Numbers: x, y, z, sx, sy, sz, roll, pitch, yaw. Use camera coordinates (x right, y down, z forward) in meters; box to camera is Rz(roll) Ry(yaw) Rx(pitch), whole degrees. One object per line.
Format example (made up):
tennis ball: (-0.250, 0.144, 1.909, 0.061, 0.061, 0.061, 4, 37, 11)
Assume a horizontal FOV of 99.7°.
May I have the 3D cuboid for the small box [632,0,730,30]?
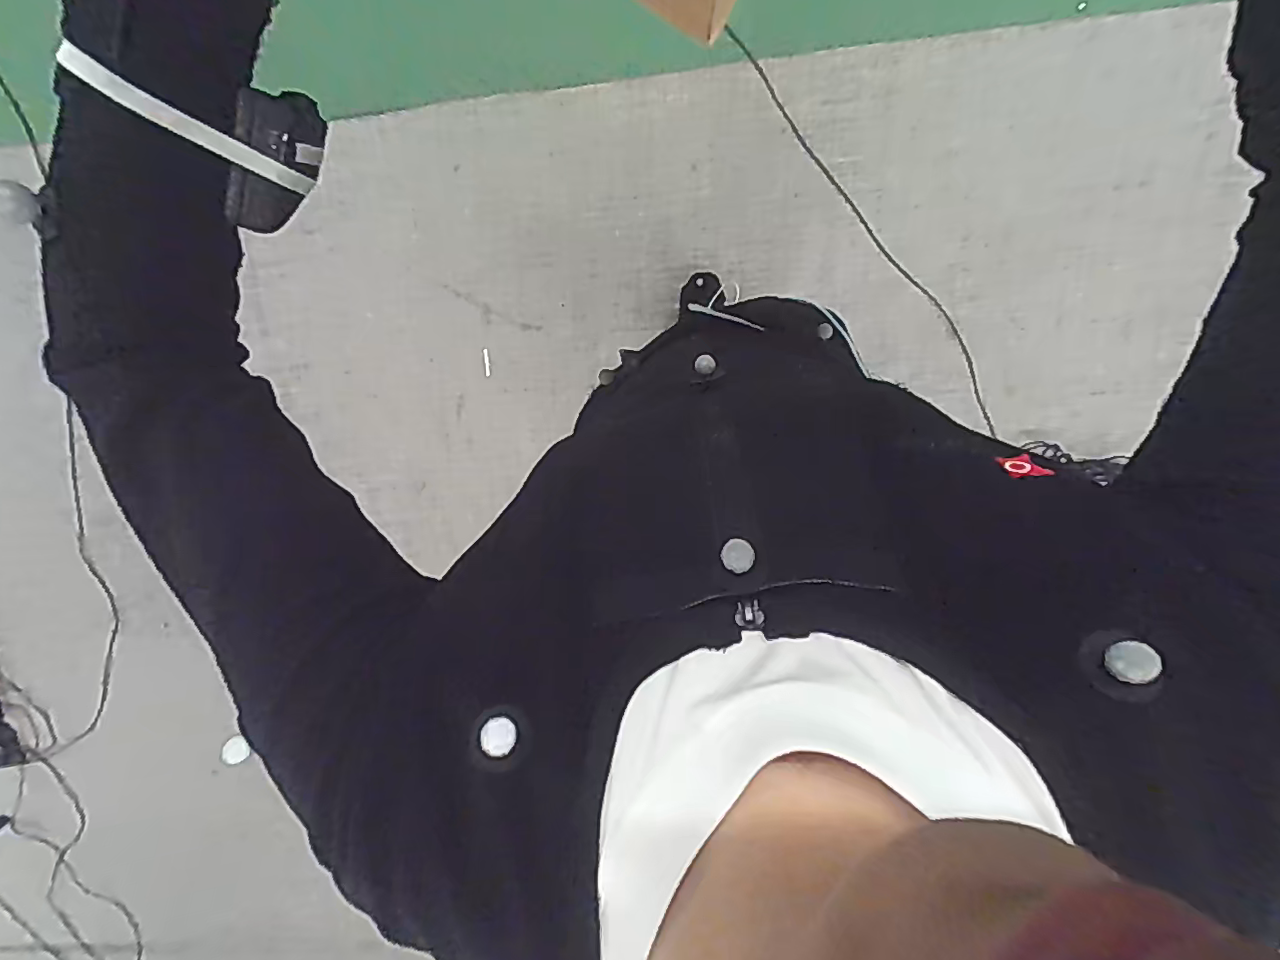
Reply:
small box: (0.002, -0.358, 0.240, 0.179, 0.176, 0.168, 29, 110, -8)
